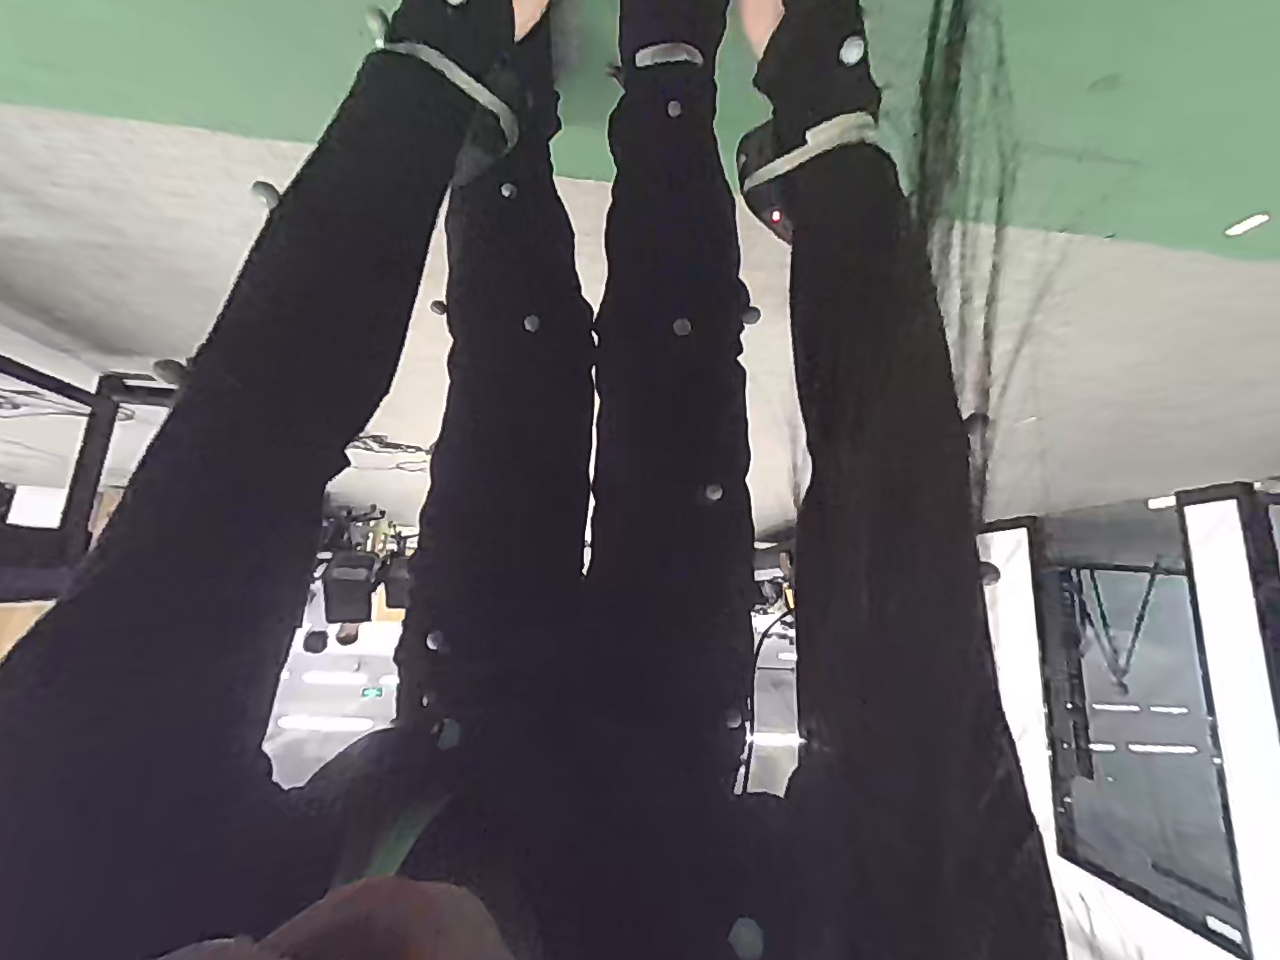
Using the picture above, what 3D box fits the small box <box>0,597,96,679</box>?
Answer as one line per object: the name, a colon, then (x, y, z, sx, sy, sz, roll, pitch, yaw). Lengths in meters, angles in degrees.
small box: (-1.457, 0.367, 1.275, 0.179, 0.176, 0.168, 5, 167, -5)
